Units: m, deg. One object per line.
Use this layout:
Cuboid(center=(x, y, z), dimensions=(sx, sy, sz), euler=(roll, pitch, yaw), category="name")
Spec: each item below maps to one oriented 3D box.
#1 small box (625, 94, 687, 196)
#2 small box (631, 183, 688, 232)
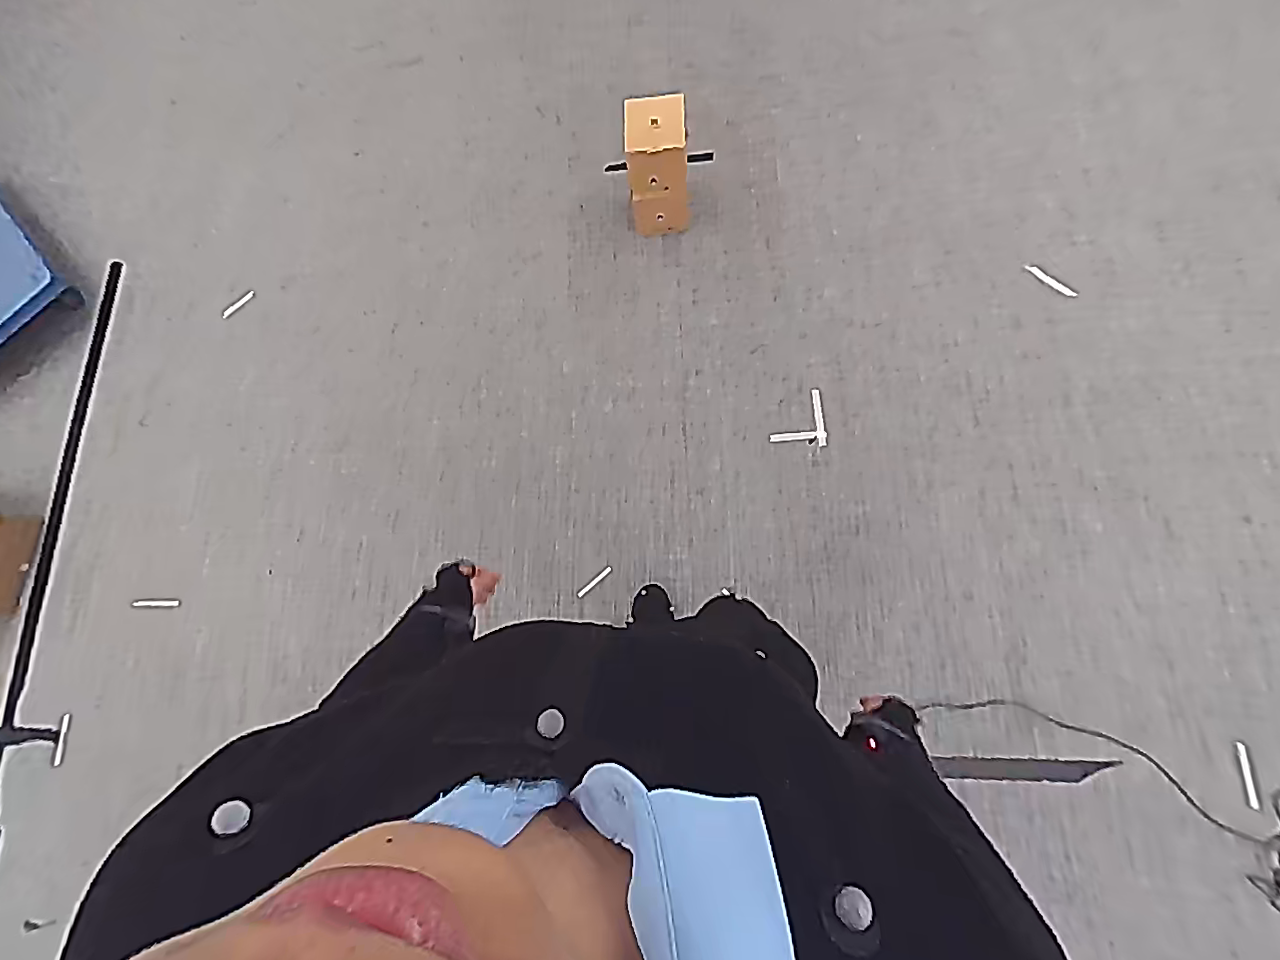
Cuboid(center=(0.048, -0.945, 1.534), dimensions=(0.168, 0.176, 0.179), euler=(-2, 77, 6), category="small box")
Cuboid(center=(0.062, -0.899, 1.690), dimensions=(0.168, 0.176, 0.179), euler=(-4, 76, 5), category="small box")
